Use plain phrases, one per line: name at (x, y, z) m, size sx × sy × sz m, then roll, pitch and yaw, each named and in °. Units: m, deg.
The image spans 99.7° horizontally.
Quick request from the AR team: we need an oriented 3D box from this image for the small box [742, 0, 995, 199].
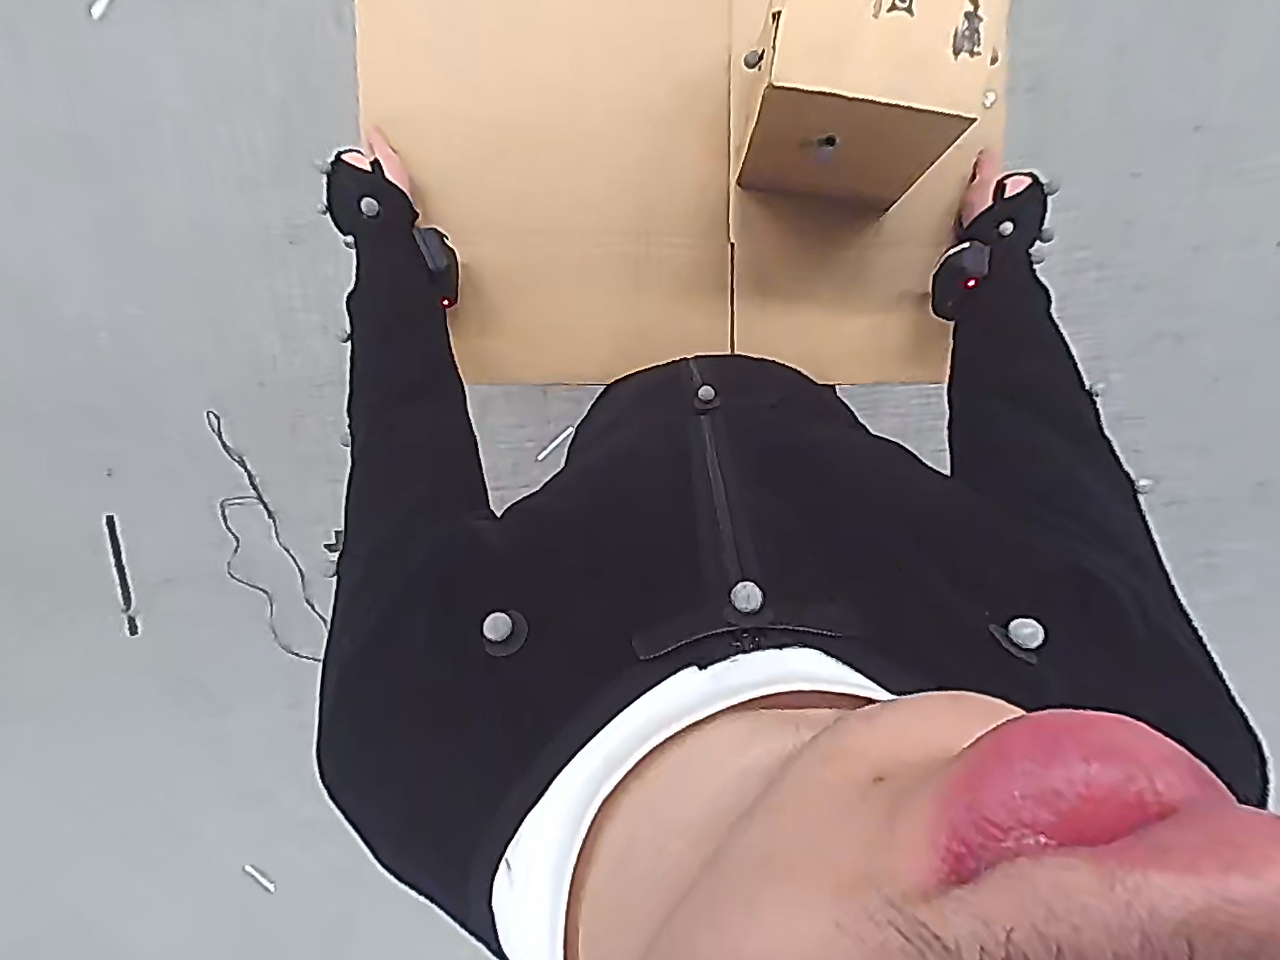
small box at (0.204, -0.397, 0.520) m, size 0.179 × 0.176 × 0.168 m, roll 10°, pitch 94°, yaw 2°
